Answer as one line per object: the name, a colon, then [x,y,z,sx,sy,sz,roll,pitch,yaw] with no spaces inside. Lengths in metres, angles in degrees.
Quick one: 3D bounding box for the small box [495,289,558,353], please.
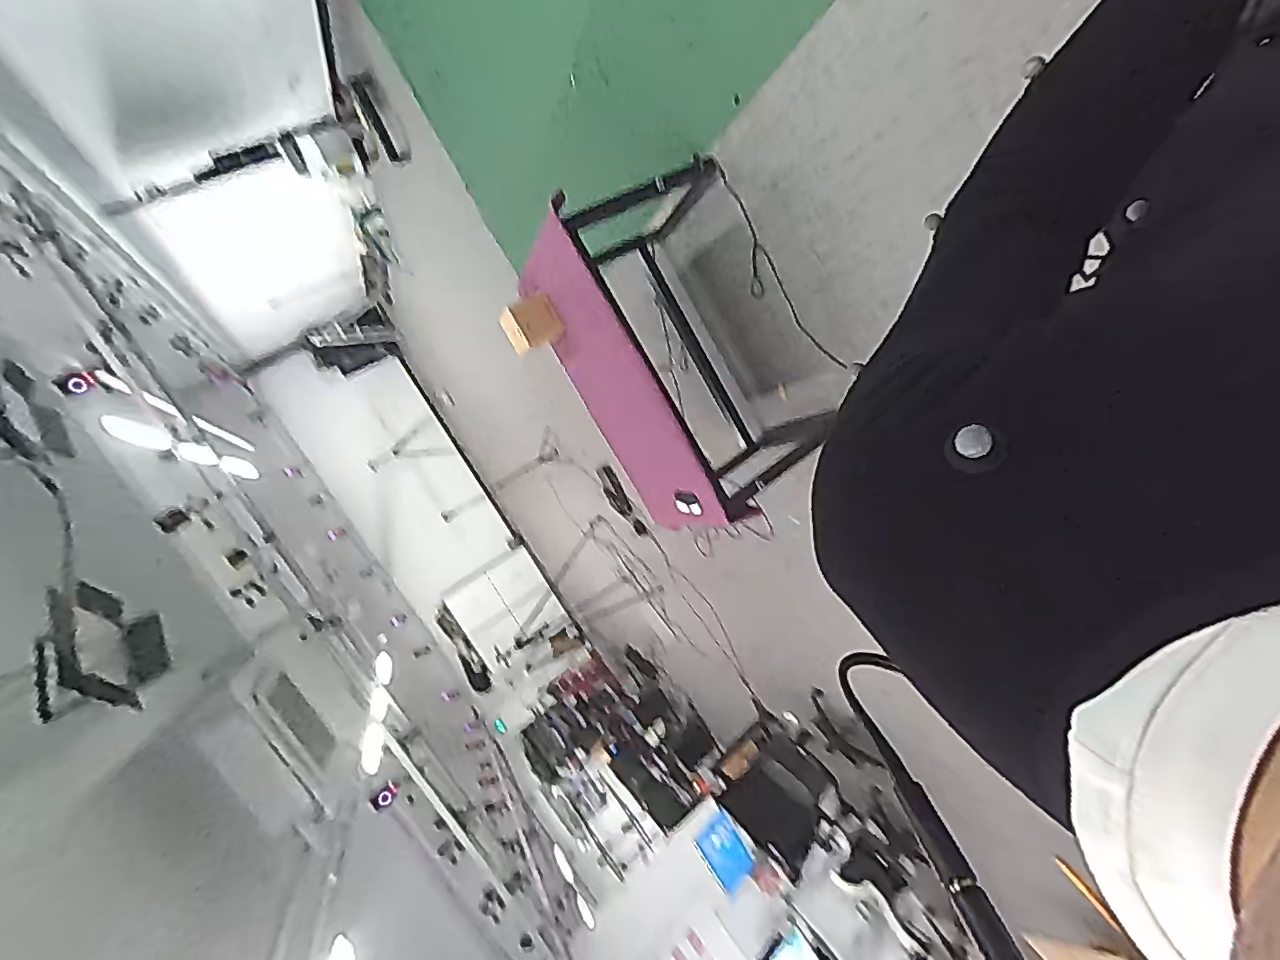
small box: [-0.451,-0.634,2.154,0.168,0.176,0.179,60,157,-11]
